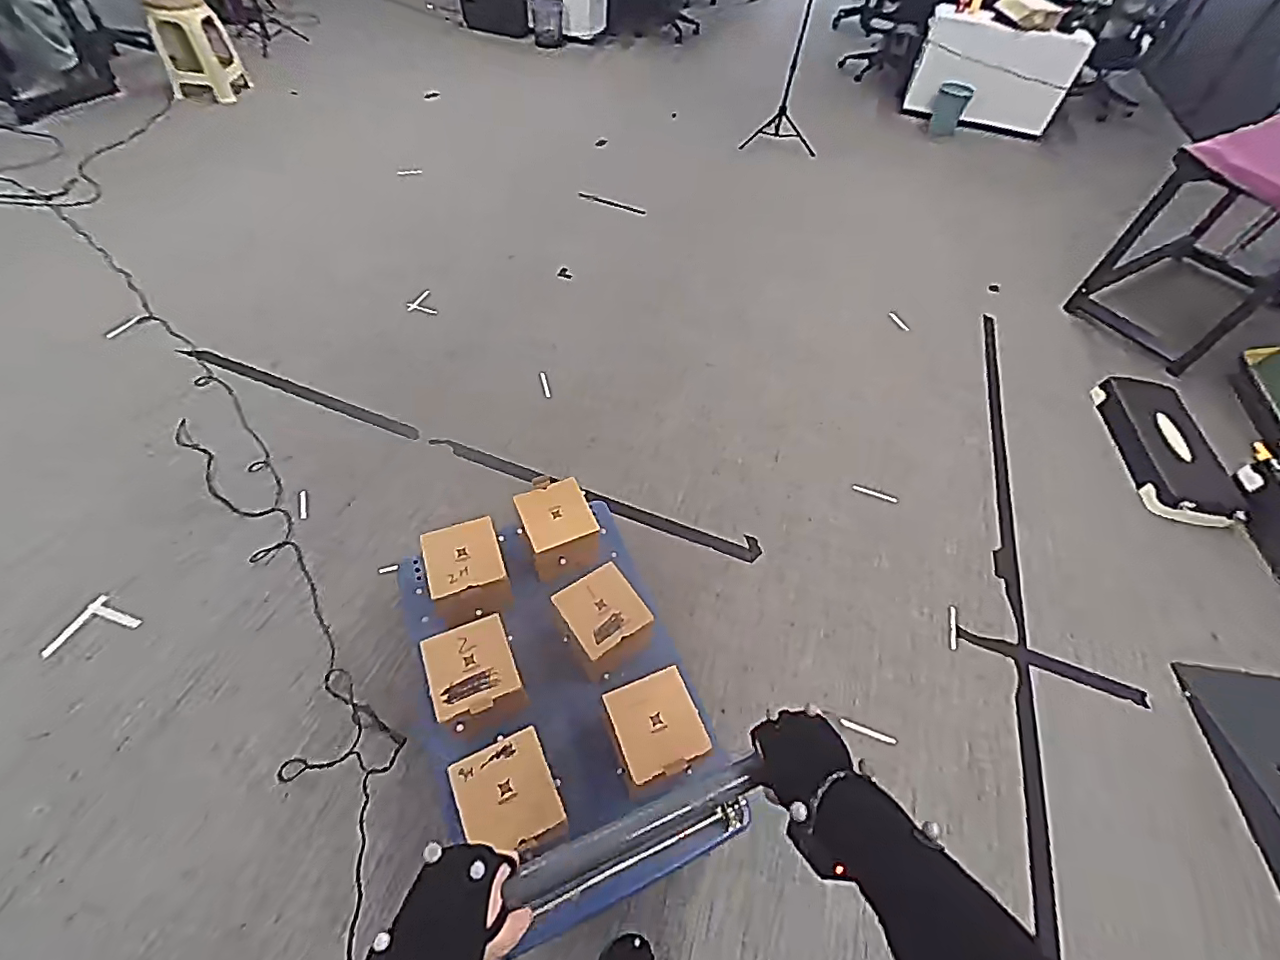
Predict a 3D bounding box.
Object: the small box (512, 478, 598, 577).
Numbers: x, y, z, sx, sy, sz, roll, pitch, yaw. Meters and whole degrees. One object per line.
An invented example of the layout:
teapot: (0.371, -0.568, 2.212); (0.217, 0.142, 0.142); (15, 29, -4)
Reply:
small box: (-0.214, 0.130, 1.388); (0.168, 0.176, 0.179); (-20, 58, -19)

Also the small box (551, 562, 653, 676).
small box: (-0.089, 0.329, 1.250); (0.168, 0.176, 0.179); (-28, 60, -24)

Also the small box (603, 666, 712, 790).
small box: (0.028, 0.519, 1.121); (0.168, 0.176, 0.179); (-16, 56, -18)

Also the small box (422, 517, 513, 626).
small box: (-0.411, 0.221, 1.297); (0.168, 0.176, 0.179); (-16, 57, -16)

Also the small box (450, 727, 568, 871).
small box: (-0.242, 0.605, 1.026); (0.168, 0.176, 0.179); (-20, 58, -20)
